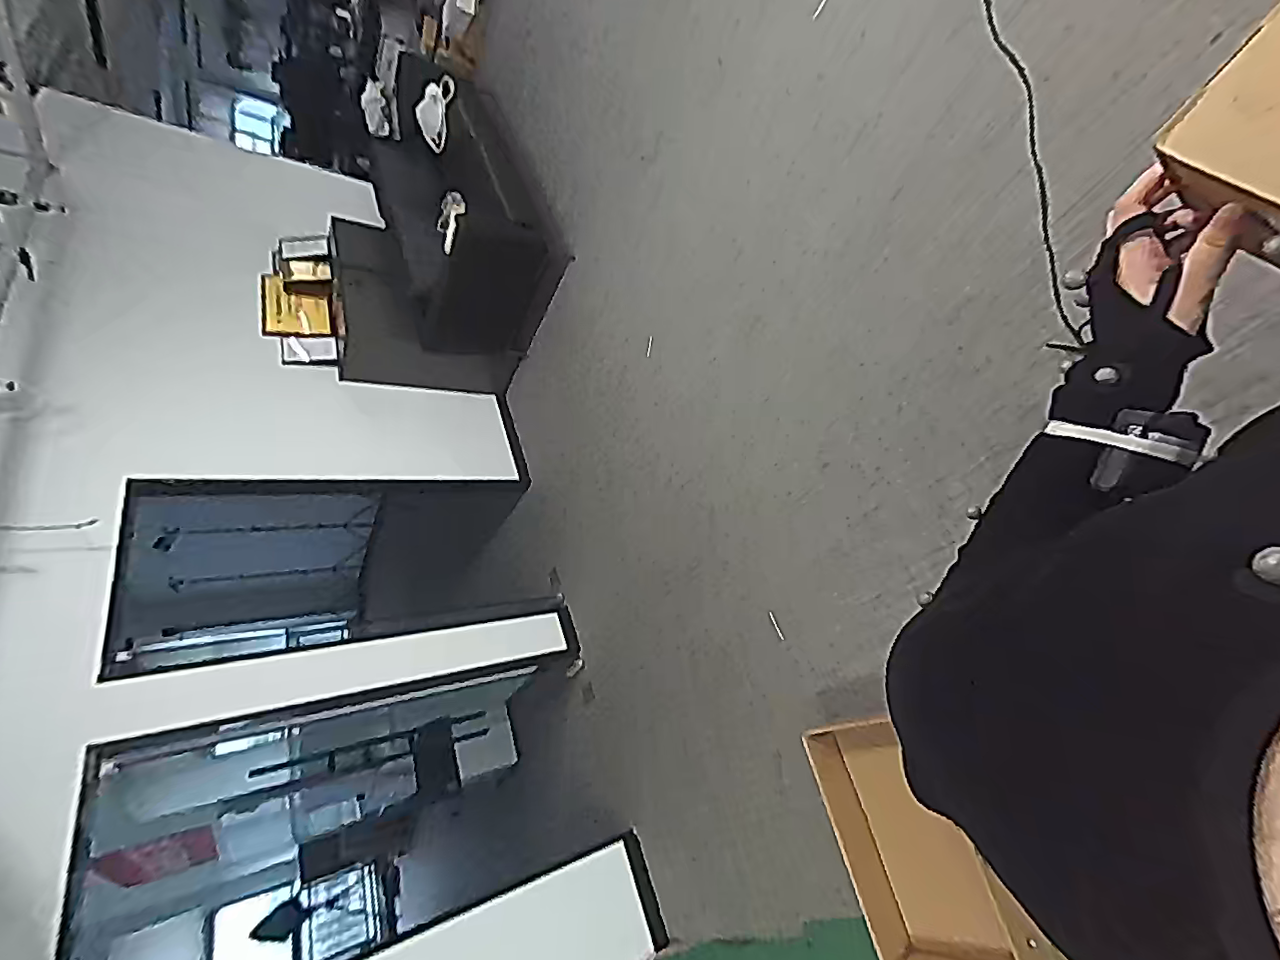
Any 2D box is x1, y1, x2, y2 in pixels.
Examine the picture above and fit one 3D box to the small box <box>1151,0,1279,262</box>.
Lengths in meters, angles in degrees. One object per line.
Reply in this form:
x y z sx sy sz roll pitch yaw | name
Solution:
0.437 -0.196 0.280 0.168 0.176 0.179 -56 49 36 | small box
